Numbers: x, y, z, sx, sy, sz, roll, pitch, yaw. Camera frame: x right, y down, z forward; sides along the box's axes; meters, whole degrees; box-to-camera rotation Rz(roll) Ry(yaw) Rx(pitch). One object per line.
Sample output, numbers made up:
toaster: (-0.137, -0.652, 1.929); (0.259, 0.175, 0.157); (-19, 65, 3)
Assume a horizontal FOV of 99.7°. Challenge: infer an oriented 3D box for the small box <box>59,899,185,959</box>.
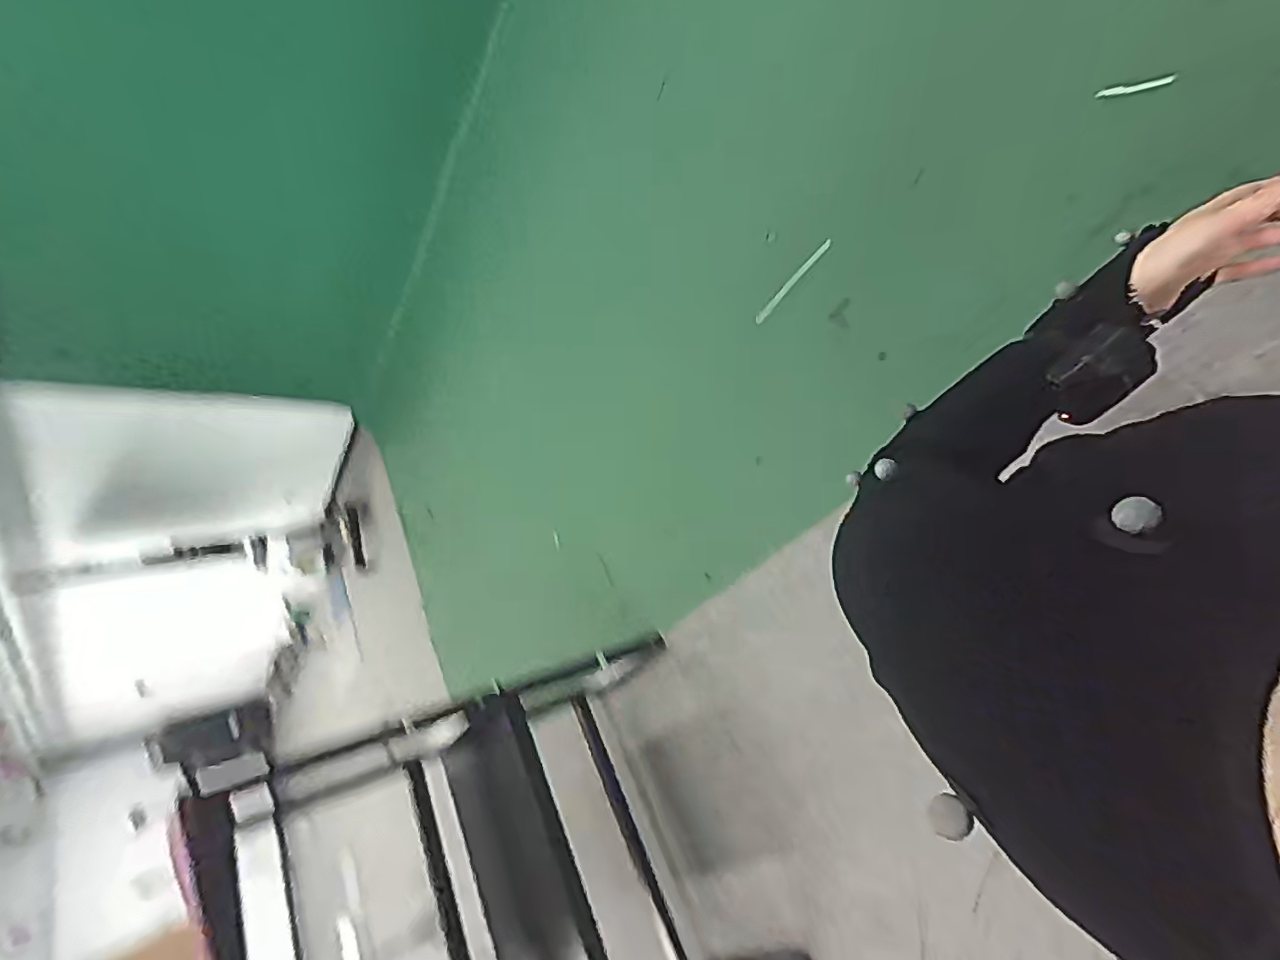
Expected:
small box: (-1.003, 0.968, 1.060); (0.168, 0.176, 0.179); (-46, 61, 39)
